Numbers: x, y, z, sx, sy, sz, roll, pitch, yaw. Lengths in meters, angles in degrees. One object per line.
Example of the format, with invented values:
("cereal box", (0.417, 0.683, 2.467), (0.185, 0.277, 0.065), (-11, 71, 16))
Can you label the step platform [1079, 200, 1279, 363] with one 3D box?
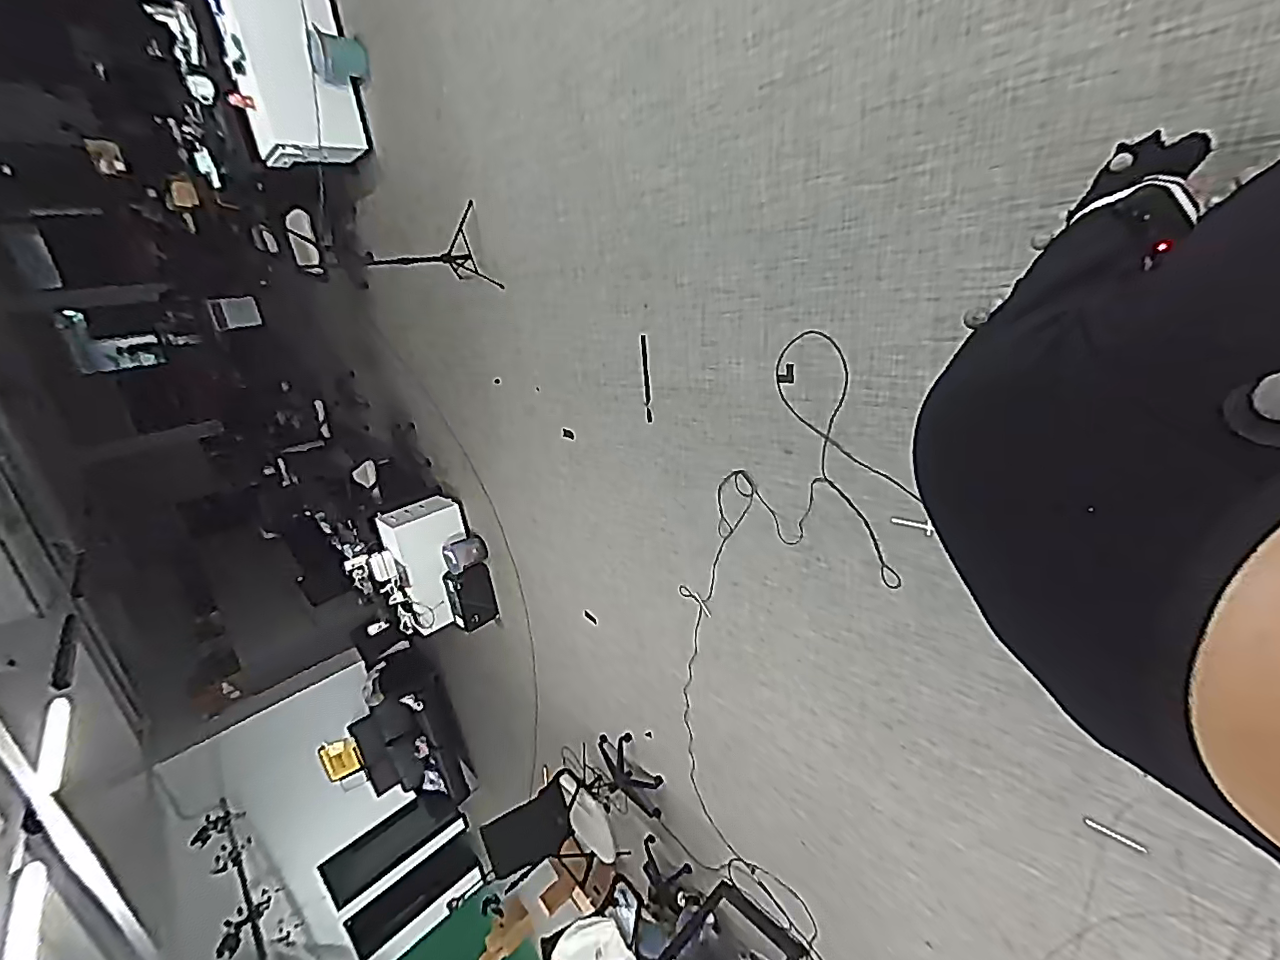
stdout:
("step platform", (1.224, -0.363, 0.966), (0.684, 0.204, 0.286), (13, 118, 44))
